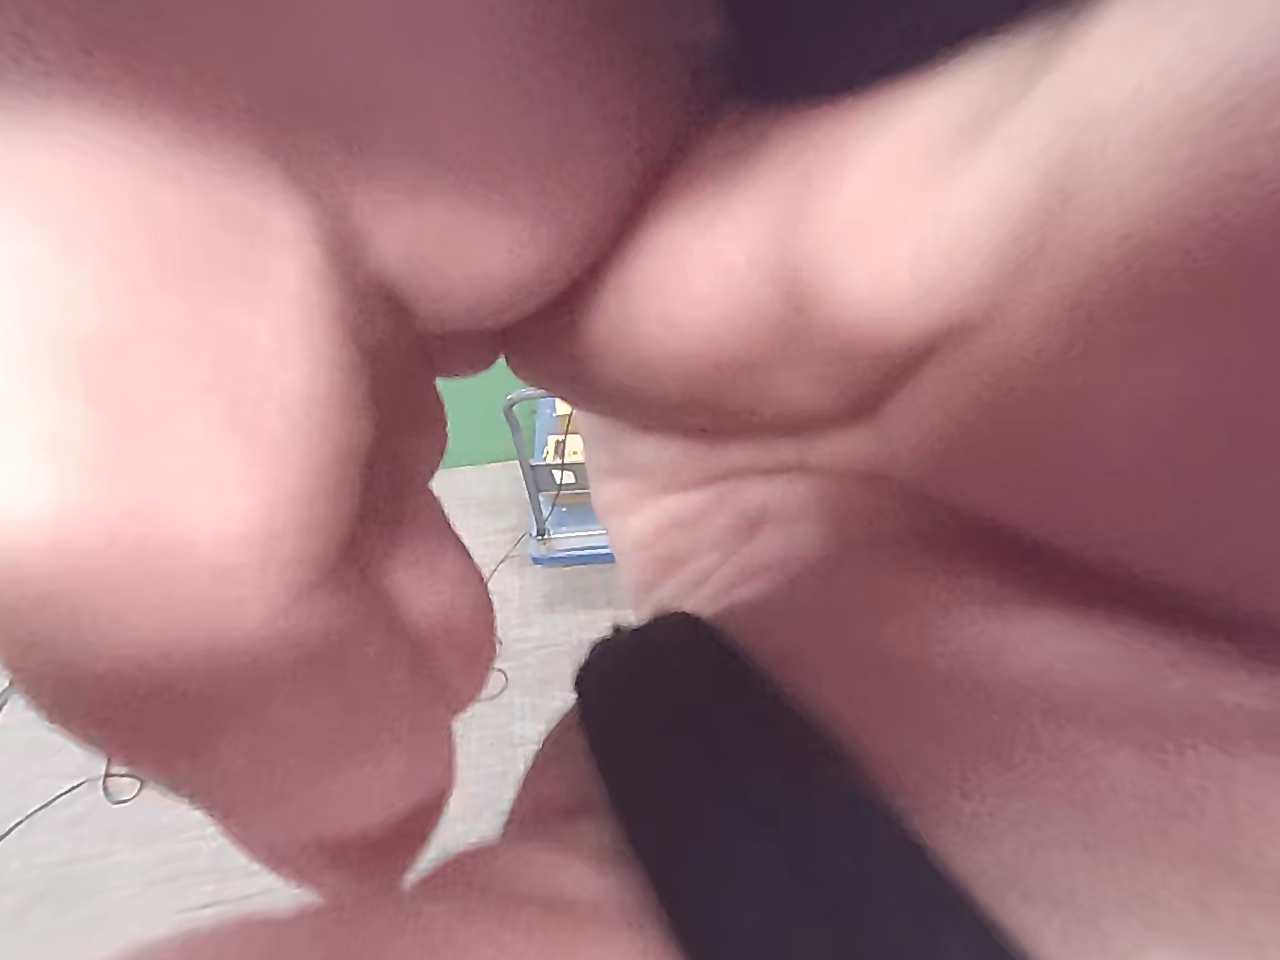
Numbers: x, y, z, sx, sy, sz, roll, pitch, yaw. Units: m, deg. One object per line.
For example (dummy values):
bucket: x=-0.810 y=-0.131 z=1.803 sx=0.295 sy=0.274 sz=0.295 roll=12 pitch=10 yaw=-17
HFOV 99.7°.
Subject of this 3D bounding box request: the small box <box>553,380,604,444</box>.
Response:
small box: x=-0.227 y=-0.246 z=2.008 sx=0.168 sy=0.176 sz=0.179 roll=-7 pitch=50 yaw=-5
